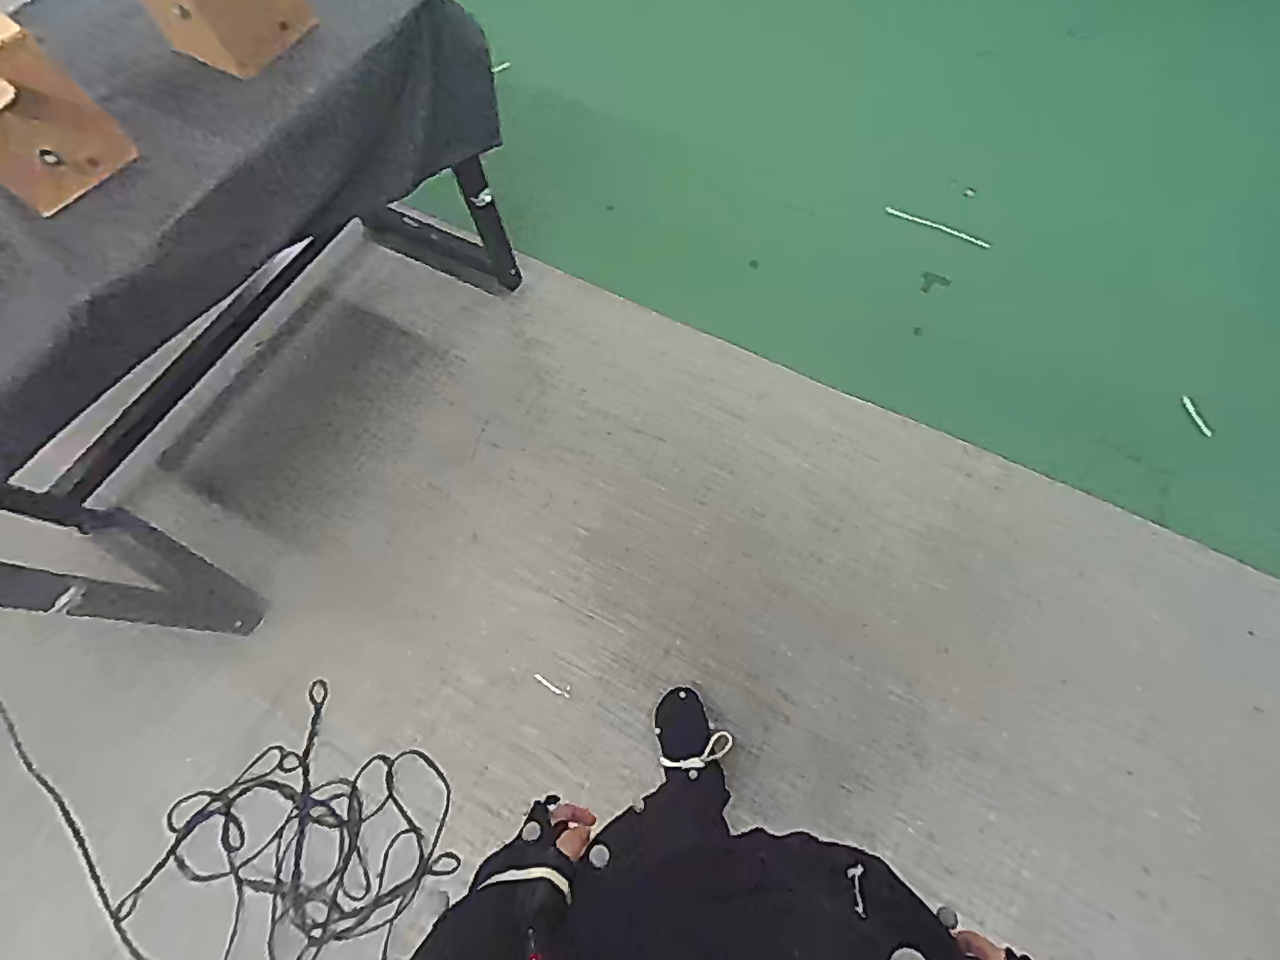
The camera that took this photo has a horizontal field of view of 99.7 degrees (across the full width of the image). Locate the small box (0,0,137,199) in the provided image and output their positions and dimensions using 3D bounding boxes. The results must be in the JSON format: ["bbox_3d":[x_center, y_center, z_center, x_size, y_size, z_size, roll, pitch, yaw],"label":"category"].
[{"bbox_3d":[-0.859,-0.522,0.728,0.179,0.176,0.168,37,74,14],"label":"small box"}]

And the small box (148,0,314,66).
[{"bbox_3d":[-0.648,-0.774,0.818,0.179,0.176,0.168,28,71,14],"label":"small box"}]
